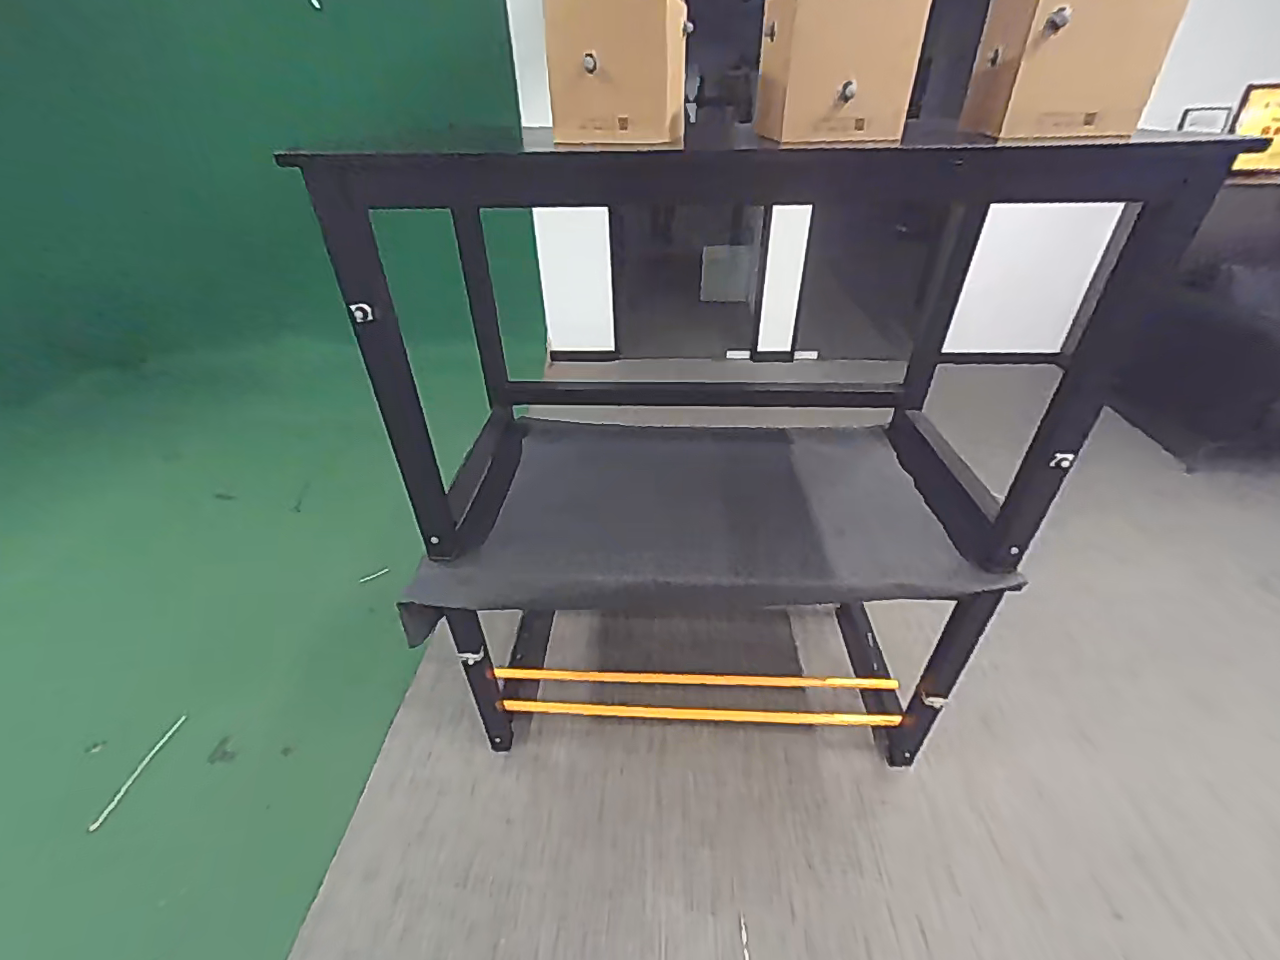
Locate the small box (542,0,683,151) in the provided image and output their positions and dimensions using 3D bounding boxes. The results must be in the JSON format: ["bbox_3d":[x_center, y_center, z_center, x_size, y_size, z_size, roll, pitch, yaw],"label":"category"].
[{"bbox_3d":[-0.028,-0.584,0.793,0.168,0.176,0.179,5,35,9],"label":"small box"}]

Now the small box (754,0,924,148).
[{"bbox_3d":[0.264,-0.573,0.763,0.168,0.176,0.179,-3,35,-1],"label":"small box"}]
